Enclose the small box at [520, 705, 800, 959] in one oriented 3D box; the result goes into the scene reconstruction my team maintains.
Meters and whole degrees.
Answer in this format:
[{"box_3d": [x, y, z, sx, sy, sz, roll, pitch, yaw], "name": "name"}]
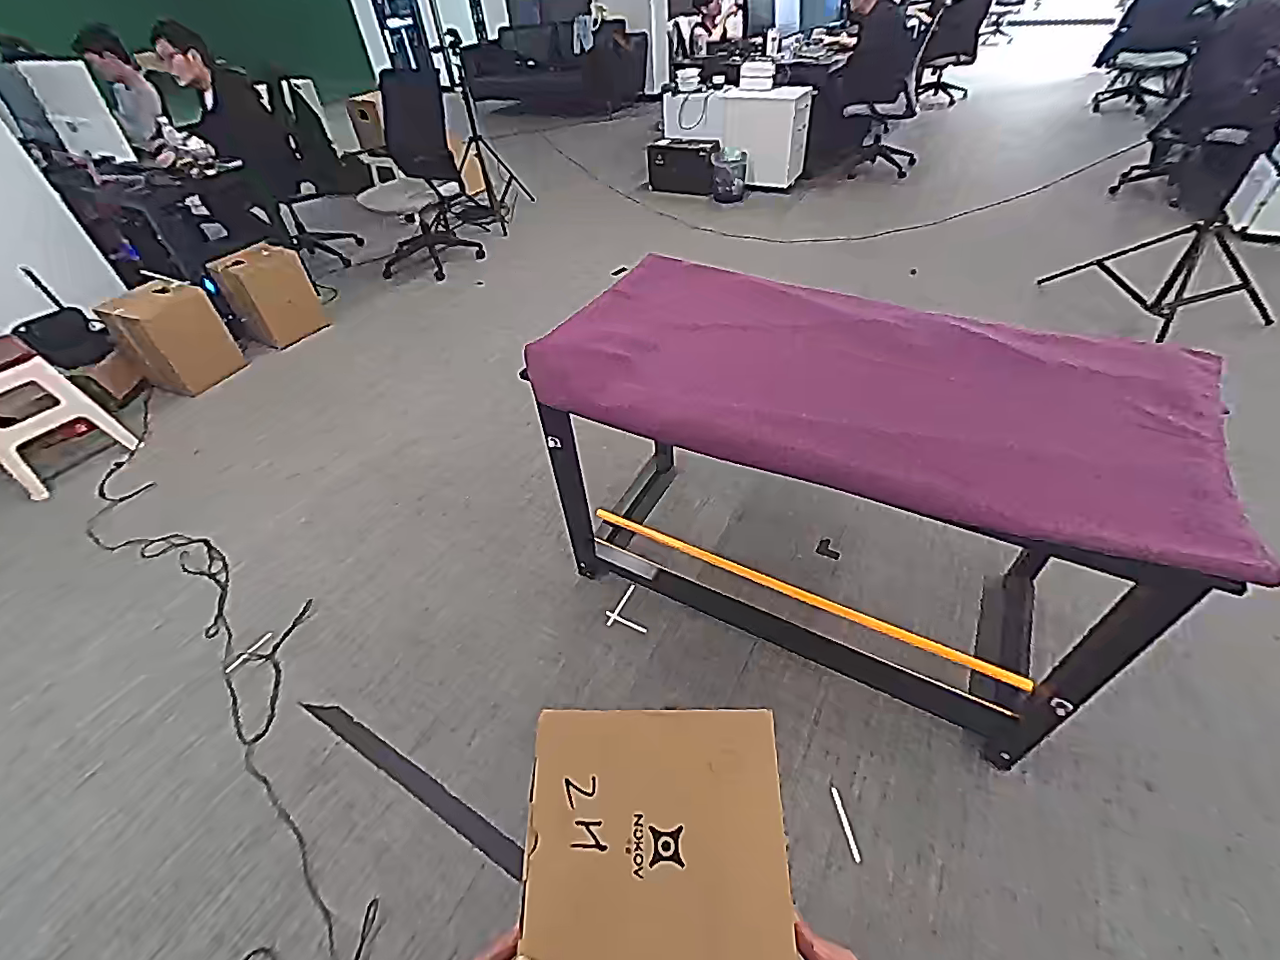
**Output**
[{"box_3d": [0.018, 0.278, 0.436, 0.179, 0.176, 0.168, -2, 61, 5], "name": "small box"}]
